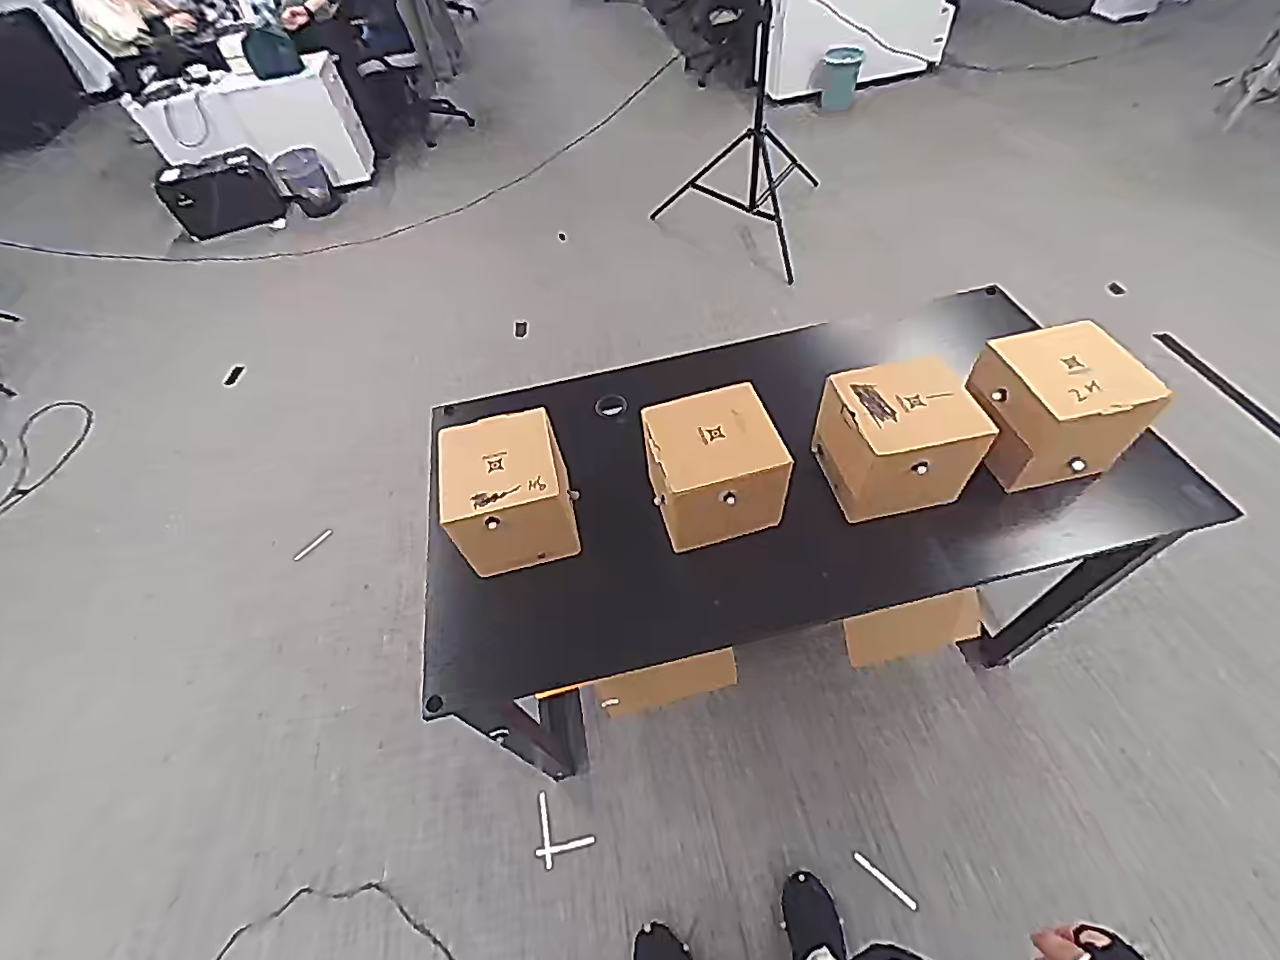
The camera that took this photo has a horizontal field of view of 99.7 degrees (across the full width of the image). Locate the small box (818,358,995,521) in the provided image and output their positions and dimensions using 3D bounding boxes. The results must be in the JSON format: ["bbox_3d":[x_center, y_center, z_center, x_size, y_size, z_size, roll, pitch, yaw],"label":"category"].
[{"bbox_3d":[0.385,-0.055,0.827,0.179,0.176,0.168,-11,53,-1],"label":"small box"}]

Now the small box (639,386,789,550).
[{"bbox_3d":[0.108,-0.012,0.833,0.179,0.176,0.168,-15,54,-5],"label":"small box"}]

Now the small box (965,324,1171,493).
[{"bbox_3d":[0.625,-0.107,0.834,0.168,0.176,0.179,-12,53,-1],"label":"small box"}]

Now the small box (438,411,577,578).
[{"bbox_3d":[-0.200,0.025,0.840,0.168,0.176,0.179,-13,53,-4],"label":"small box"}]
